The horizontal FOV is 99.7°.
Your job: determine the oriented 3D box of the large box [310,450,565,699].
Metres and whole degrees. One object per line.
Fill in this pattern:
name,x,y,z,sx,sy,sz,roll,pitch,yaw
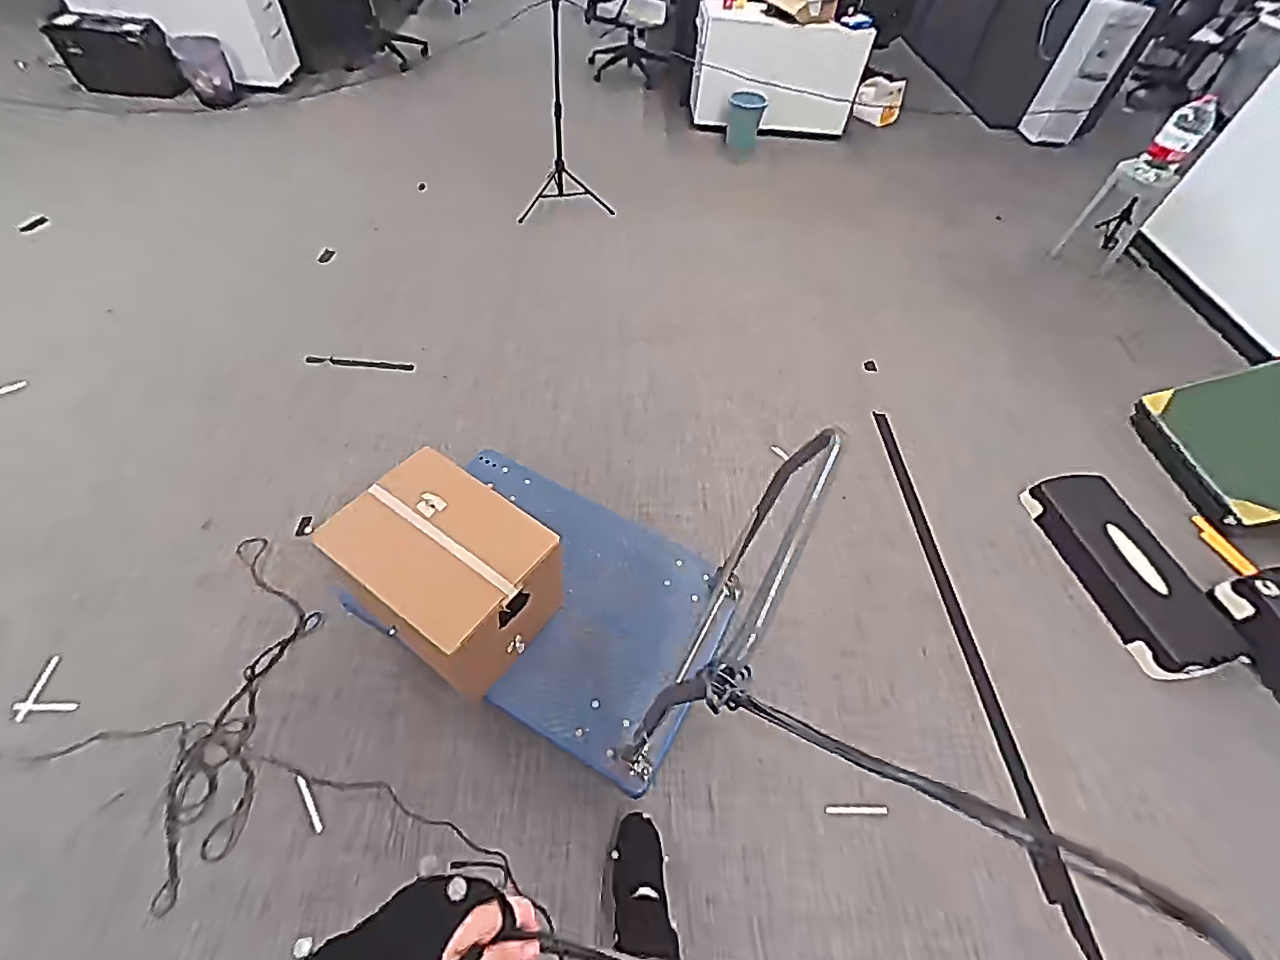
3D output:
large box,-0.420,0.211,1.212,0.408,0.320,0.320,31,55,17
